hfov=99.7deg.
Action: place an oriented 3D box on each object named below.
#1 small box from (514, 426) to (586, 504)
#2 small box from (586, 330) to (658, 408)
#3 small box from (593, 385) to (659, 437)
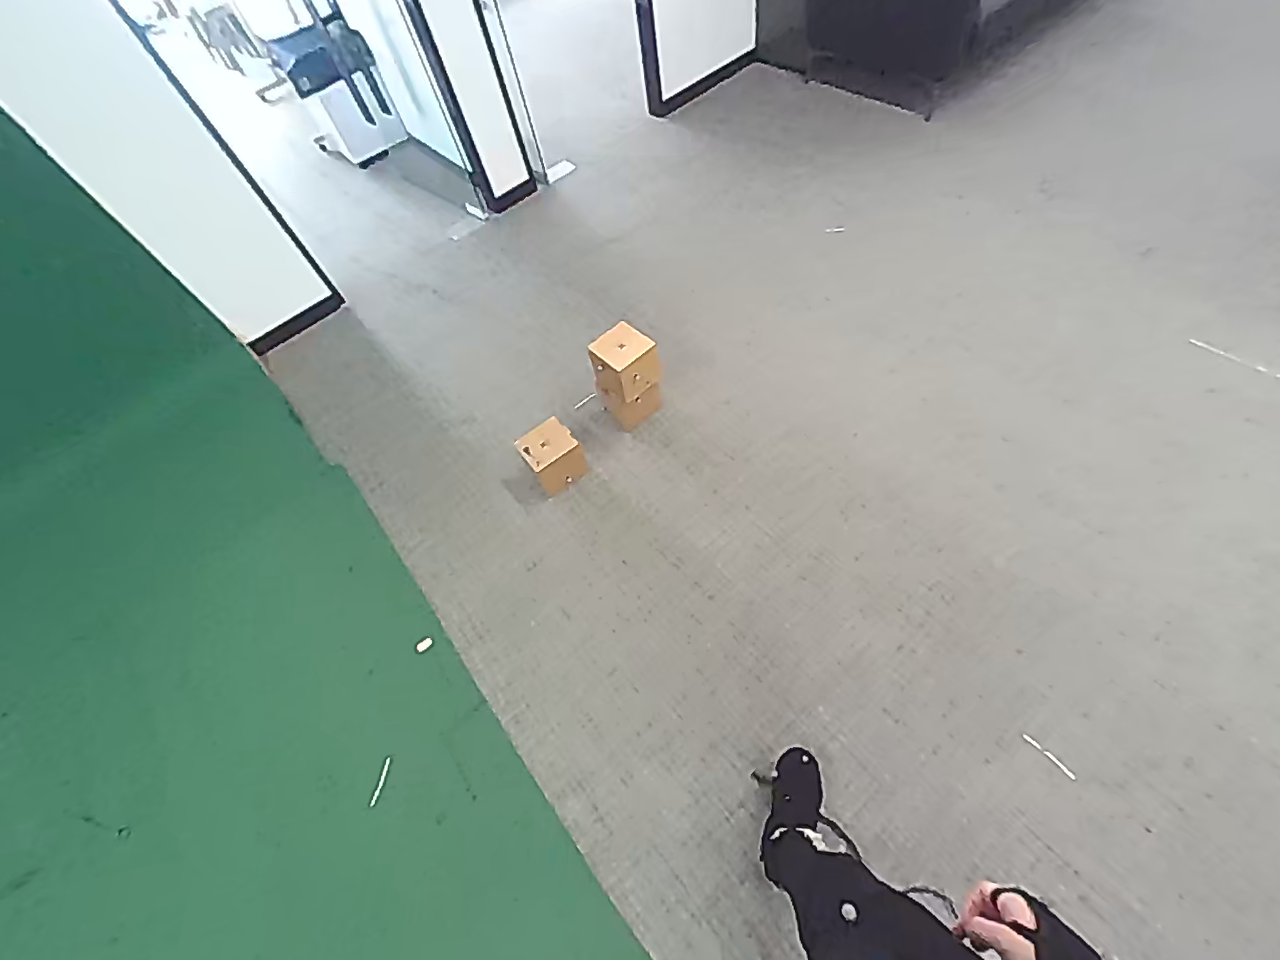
[{"bbox_3d":[-0.306,-0.050,1.896,0.179,0.176,0.168,-36,58,-13],"label":"small box"},{"bbox_3d":[-0.056,-0.375,1.864,0.168,0.176,0.179,-41,59,-16],"label":"small box"},{"bbox_3d":[-0.044,-0.293,2.005,0.179,0.176,0.168,-37,59,-15],"label":"small box"}]
